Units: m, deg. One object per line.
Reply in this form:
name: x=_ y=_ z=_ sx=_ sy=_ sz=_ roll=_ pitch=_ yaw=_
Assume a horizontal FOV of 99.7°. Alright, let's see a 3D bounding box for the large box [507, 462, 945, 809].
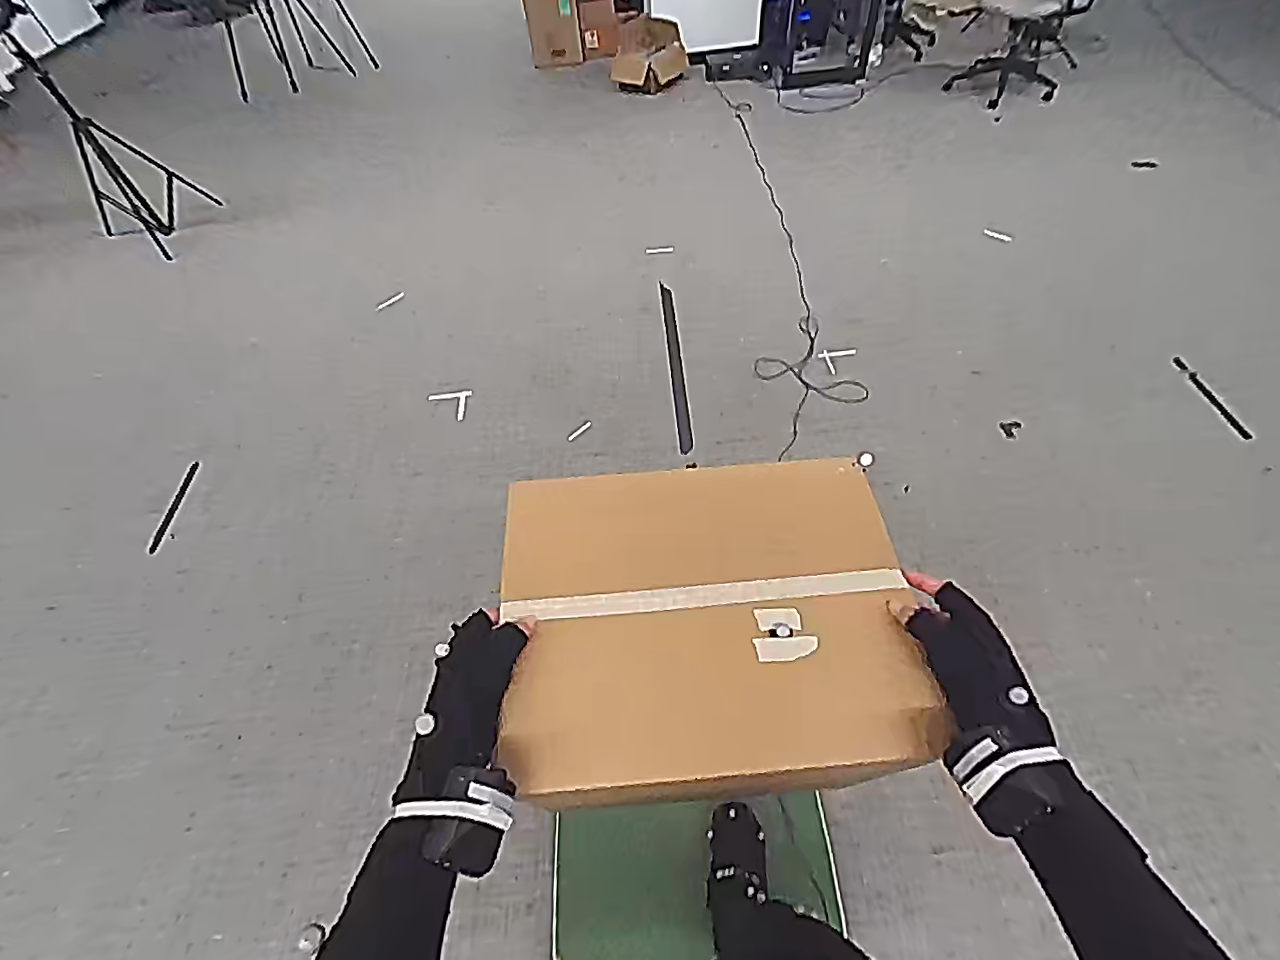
large box: x=0.065 y=0.204 z=0.680 sx=0.408 sy=0.320 sz=0.320 roll=-4 pitch=56 yaw=-3
